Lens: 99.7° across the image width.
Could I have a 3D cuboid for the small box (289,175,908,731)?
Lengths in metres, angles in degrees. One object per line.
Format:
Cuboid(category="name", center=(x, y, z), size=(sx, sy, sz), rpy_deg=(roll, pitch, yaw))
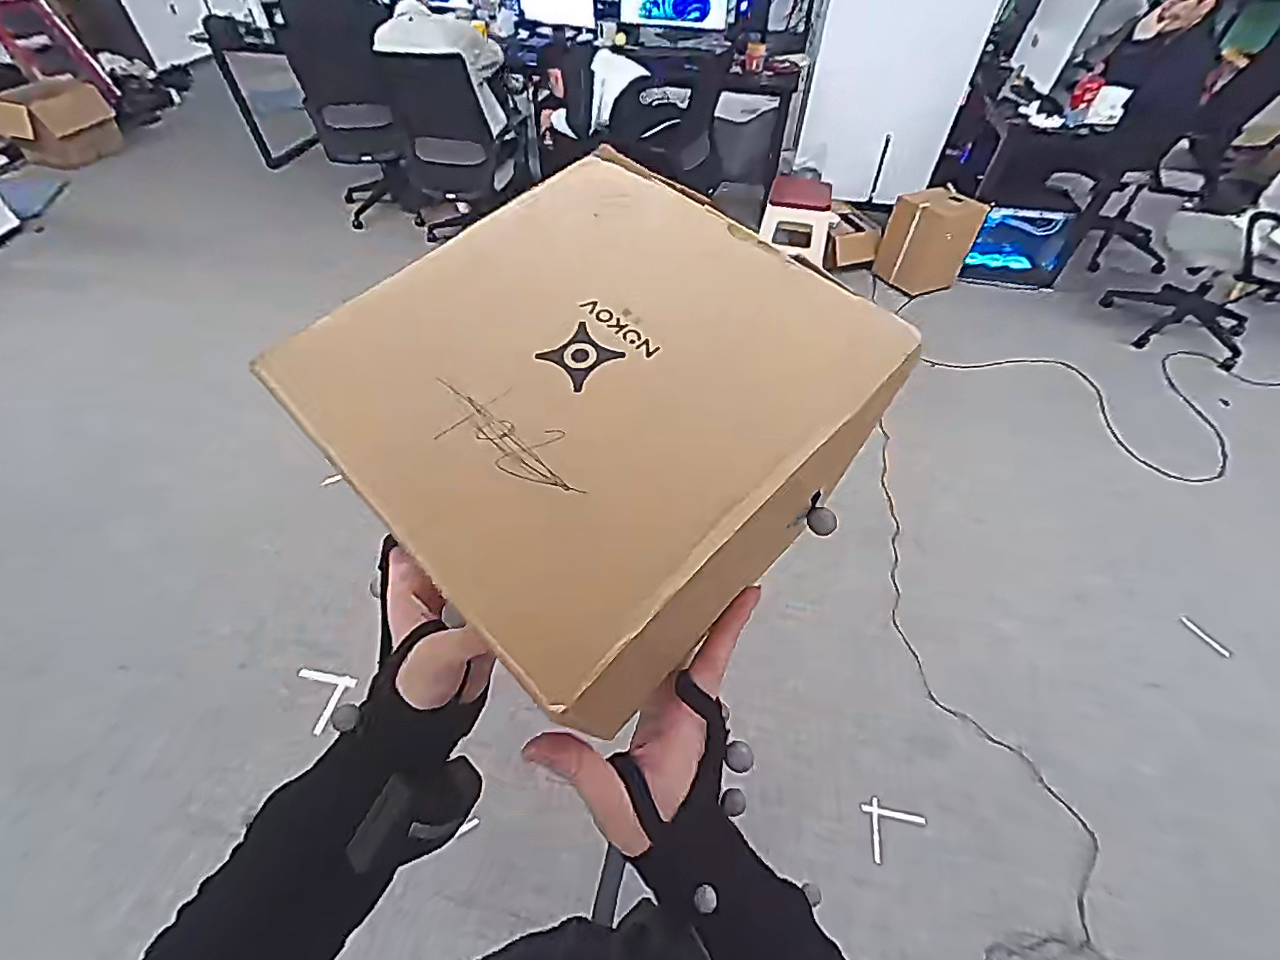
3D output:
Cuboid(category="small box", center=(-0.013, -0.003, 0.272), size=(0.168, 0.176, 0.179), rpy_deg=(40, 71, 21))
